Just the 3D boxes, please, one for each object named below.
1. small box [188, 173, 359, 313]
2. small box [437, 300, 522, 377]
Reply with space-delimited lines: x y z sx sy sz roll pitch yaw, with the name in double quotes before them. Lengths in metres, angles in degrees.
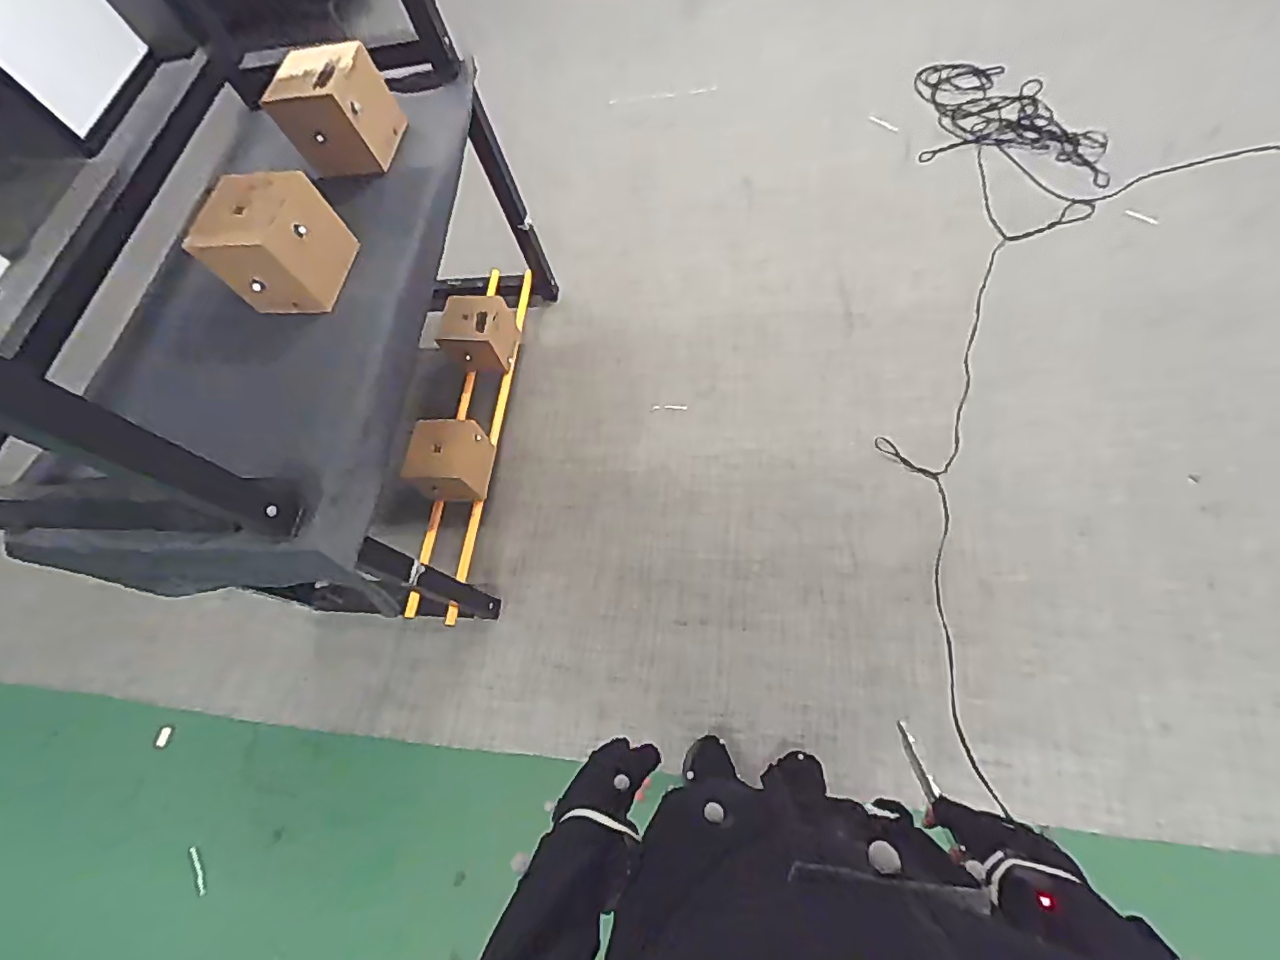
"small box" -0.658 -0.427 0.997 0.168 0.176 0.179 4 67 12
"small box" -0.484 -0.431 1.661 0.179 0.176 0.168 4 66 12
